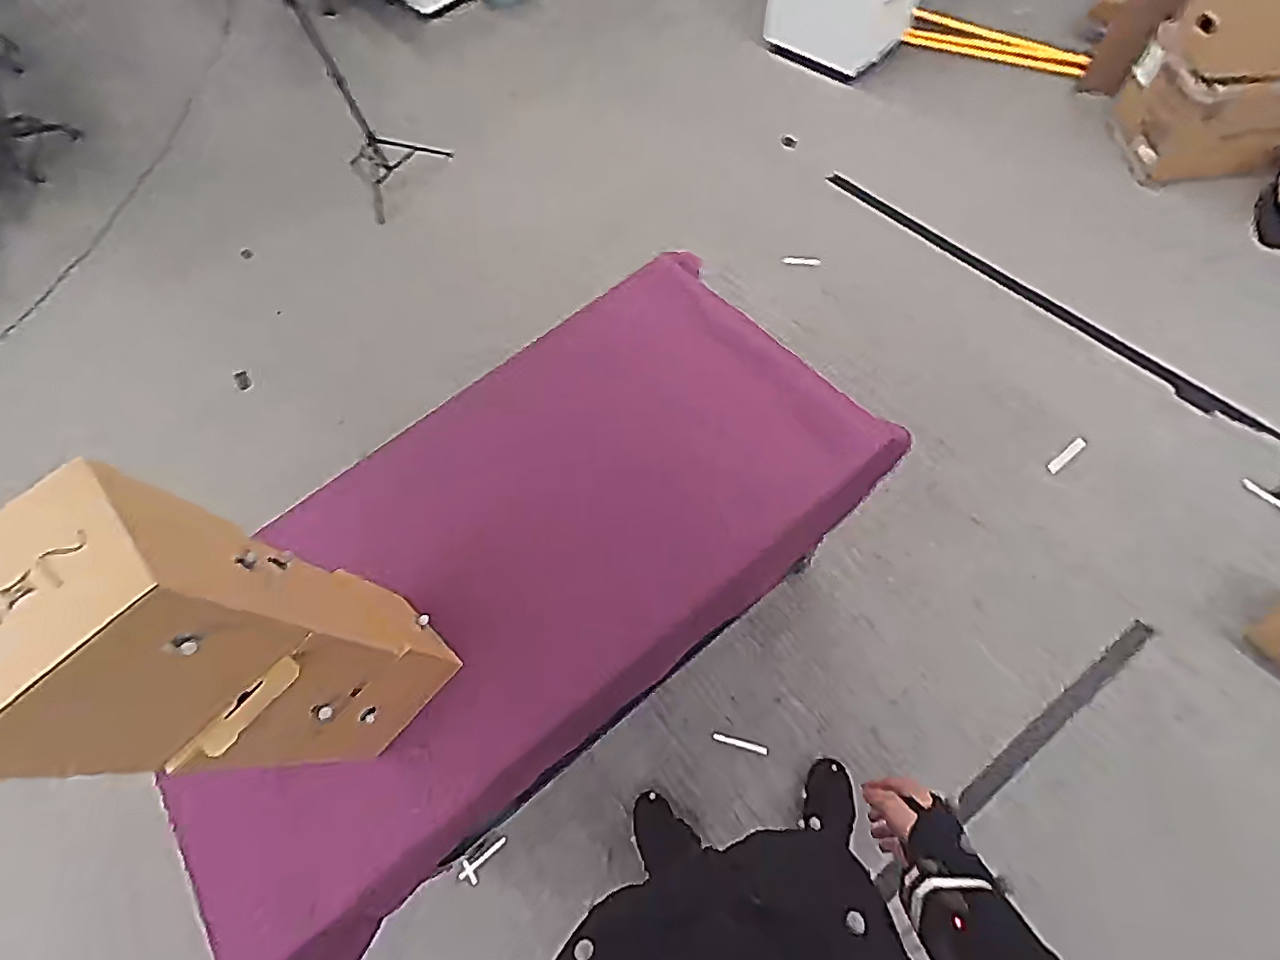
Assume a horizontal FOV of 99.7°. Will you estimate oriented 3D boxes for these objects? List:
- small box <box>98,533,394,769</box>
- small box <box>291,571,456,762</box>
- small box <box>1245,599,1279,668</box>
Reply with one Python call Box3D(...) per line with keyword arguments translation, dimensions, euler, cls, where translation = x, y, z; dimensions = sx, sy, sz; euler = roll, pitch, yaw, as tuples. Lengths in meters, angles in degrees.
Box3D(translation=(-0.425, 0.194, 0.609), dimensions=(0.179, 0.176, 0.168), euler=(36, 75, 21), cls="small box")
Box3D(translation=(-0.395, 0.263, 0.757), dimensions=(0.168, 0.176, 0.179), euler=(37, 74, 21), cls="small box")
Box3D(translation=(1.598, 0.367, 1.260), dimensions=(0.179, 0.176, 0.168), euler=(-33, 66, -9), cls="small box")
